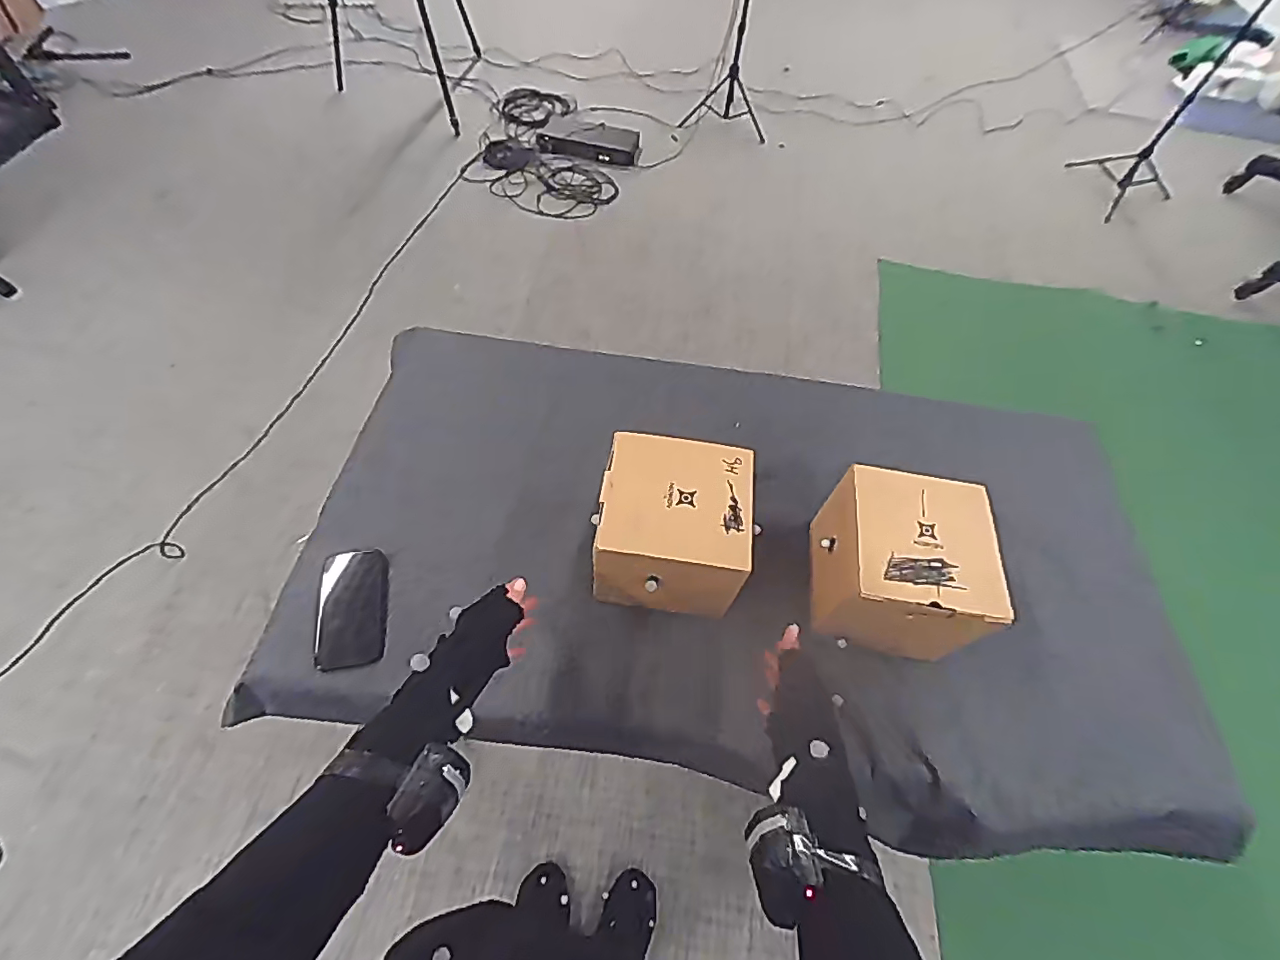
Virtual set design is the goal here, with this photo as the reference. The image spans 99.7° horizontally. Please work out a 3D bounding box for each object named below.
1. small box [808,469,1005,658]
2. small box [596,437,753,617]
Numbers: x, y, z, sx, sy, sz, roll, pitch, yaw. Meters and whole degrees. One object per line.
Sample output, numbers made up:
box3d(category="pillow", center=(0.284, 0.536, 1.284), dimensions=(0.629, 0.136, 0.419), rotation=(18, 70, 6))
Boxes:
box3d(category="small box", center=(0.325, 0.114, 0.699), dimensions=(0.168, 0.176, 0.179), rotation=(10, 57, 2))
box3d(category="small box", center=(0.042, 0.067, 0.706), dimensions=(0.179, 0.176, 0.168), rotation=(8, 57, 1))
